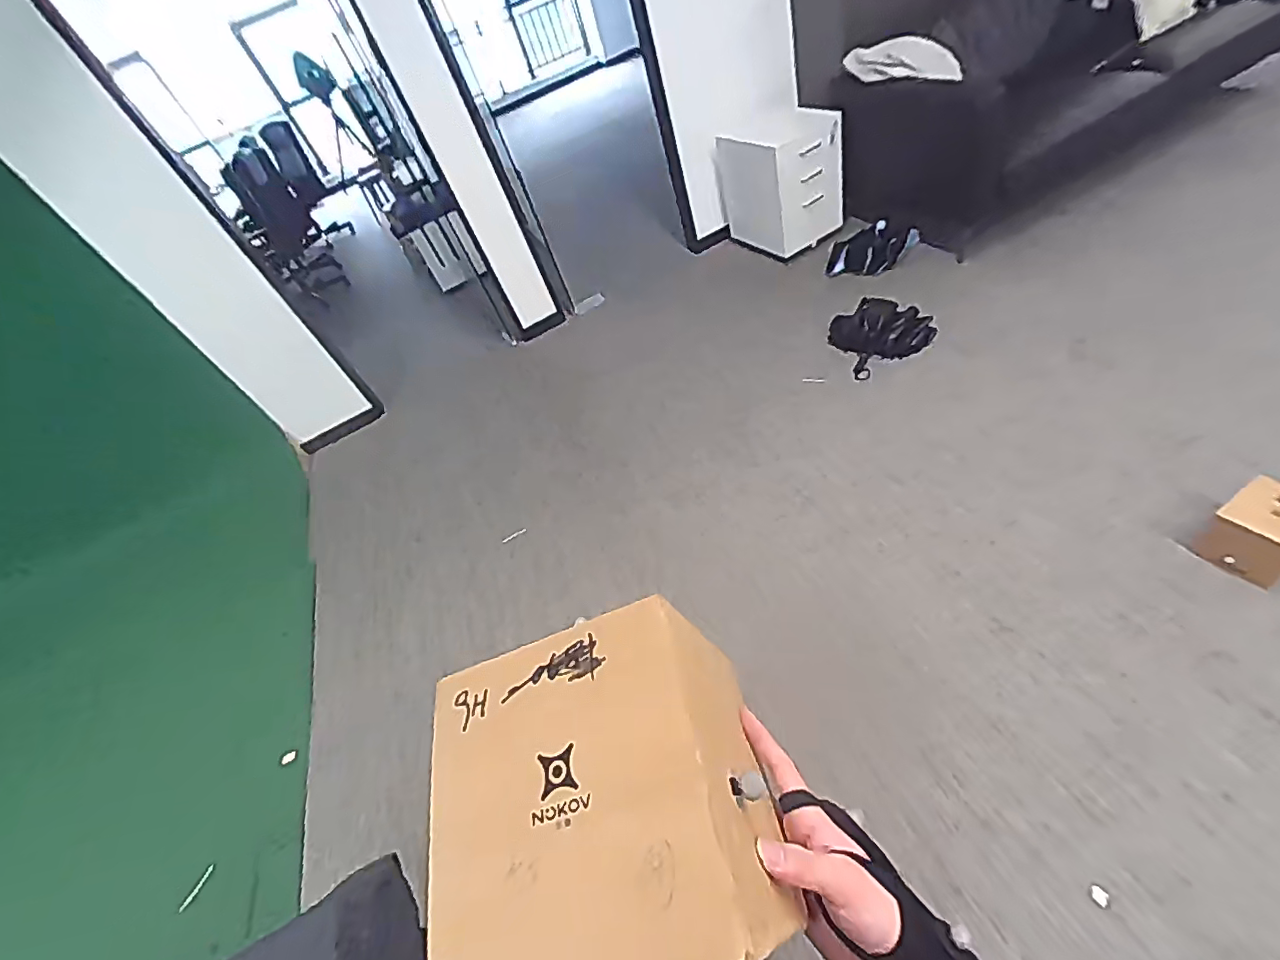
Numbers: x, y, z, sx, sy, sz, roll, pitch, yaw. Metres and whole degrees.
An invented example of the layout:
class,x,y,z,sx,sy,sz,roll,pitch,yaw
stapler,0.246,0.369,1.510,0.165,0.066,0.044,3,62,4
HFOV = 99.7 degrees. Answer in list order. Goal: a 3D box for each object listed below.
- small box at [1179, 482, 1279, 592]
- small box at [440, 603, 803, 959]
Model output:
class,x,y,z,sx,sy,sz,roll,pitch,yaw
small box,1.528,0.144,1.361,0.179,0.176,0.168,-34,45,-10
small box,-0.008,0.211,0.356,0.168,0.176,0.179,-23,51,10
